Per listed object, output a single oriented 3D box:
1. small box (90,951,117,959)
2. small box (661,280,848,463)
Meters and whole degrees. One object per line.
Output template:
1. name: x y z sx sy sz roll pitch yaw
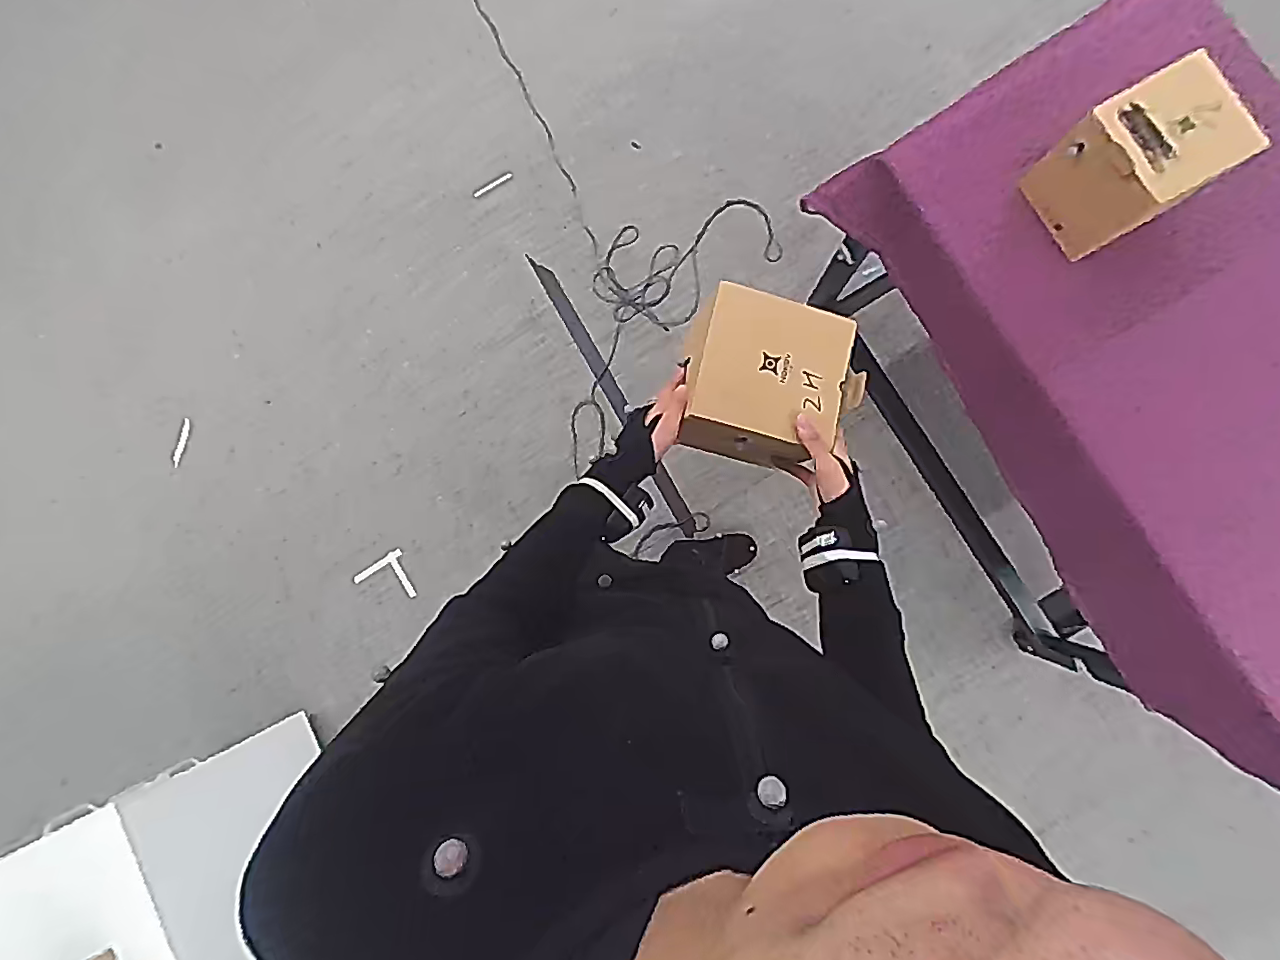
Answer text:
1. small box: -1.077 1.033 0.985 0.168 0.176 0.179 -30 84 1
2. small box: 0.136 -0.126 0.702 0.179 0.176 0.168 14 83 -8
